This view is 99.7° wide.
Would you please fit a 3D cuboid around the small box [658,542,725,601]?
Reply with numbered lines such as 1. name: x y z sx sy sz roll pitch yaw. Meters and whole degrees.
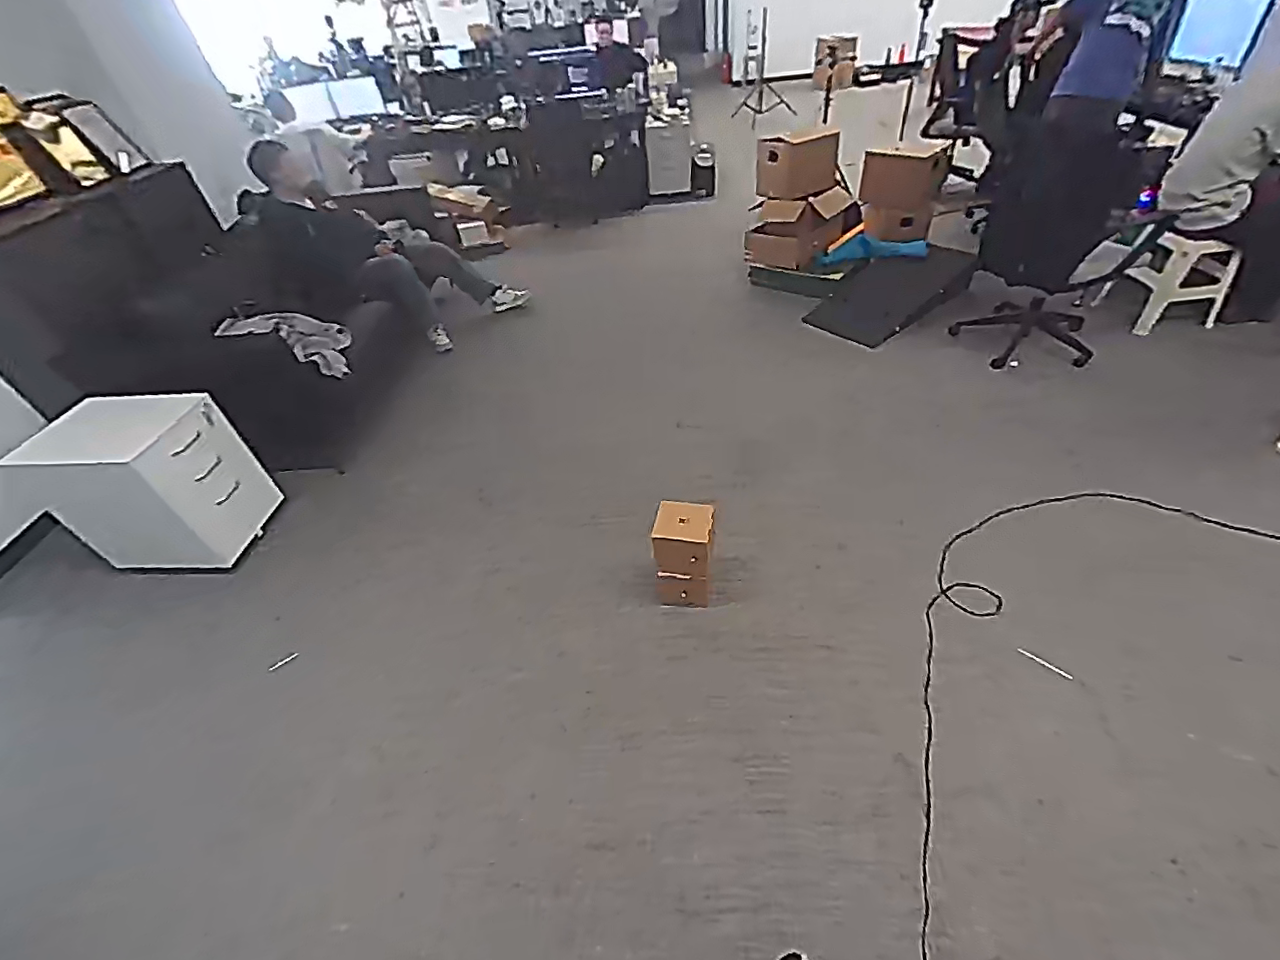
1. small box: 0.181 0.288 1.867 0.179 0.176 0.168 -20 42 -10

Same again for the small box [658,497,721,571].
1. small box: 0.166 0.179 1.758 0.179 0.176 0.168 4 42 15
